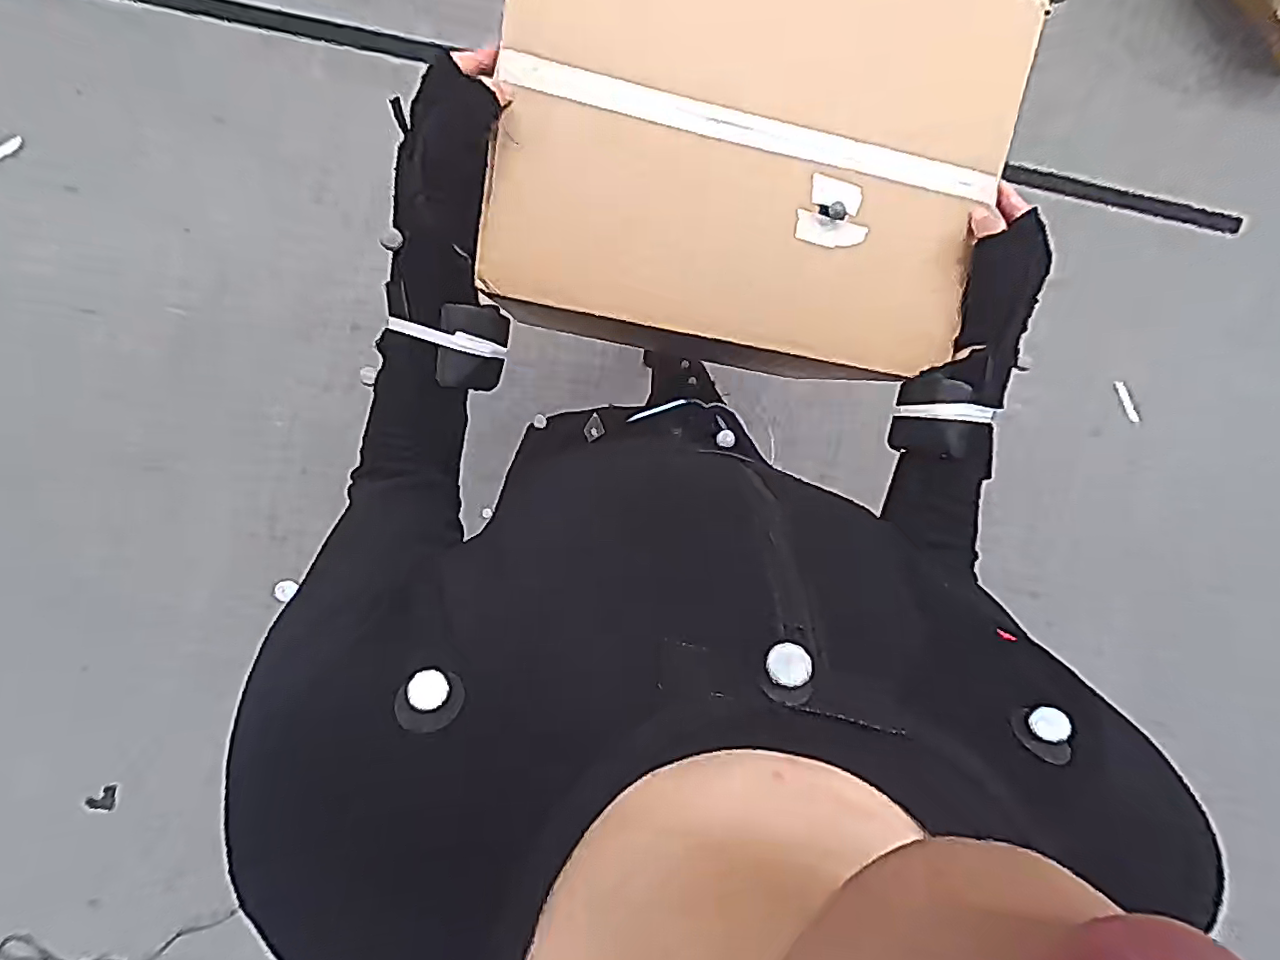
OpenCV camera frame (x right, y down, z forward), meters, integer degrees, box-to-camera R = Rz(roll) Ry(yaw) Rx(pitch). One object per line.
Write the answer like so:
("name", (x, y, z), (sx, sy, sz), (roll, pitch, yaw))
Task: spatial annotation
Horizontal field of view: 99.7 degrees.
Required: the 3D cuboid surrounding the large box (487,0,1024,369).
("large box", (0.074, -0.304, 0.577), (0.408, 0.320, 0.320), (9, 102, -10))
